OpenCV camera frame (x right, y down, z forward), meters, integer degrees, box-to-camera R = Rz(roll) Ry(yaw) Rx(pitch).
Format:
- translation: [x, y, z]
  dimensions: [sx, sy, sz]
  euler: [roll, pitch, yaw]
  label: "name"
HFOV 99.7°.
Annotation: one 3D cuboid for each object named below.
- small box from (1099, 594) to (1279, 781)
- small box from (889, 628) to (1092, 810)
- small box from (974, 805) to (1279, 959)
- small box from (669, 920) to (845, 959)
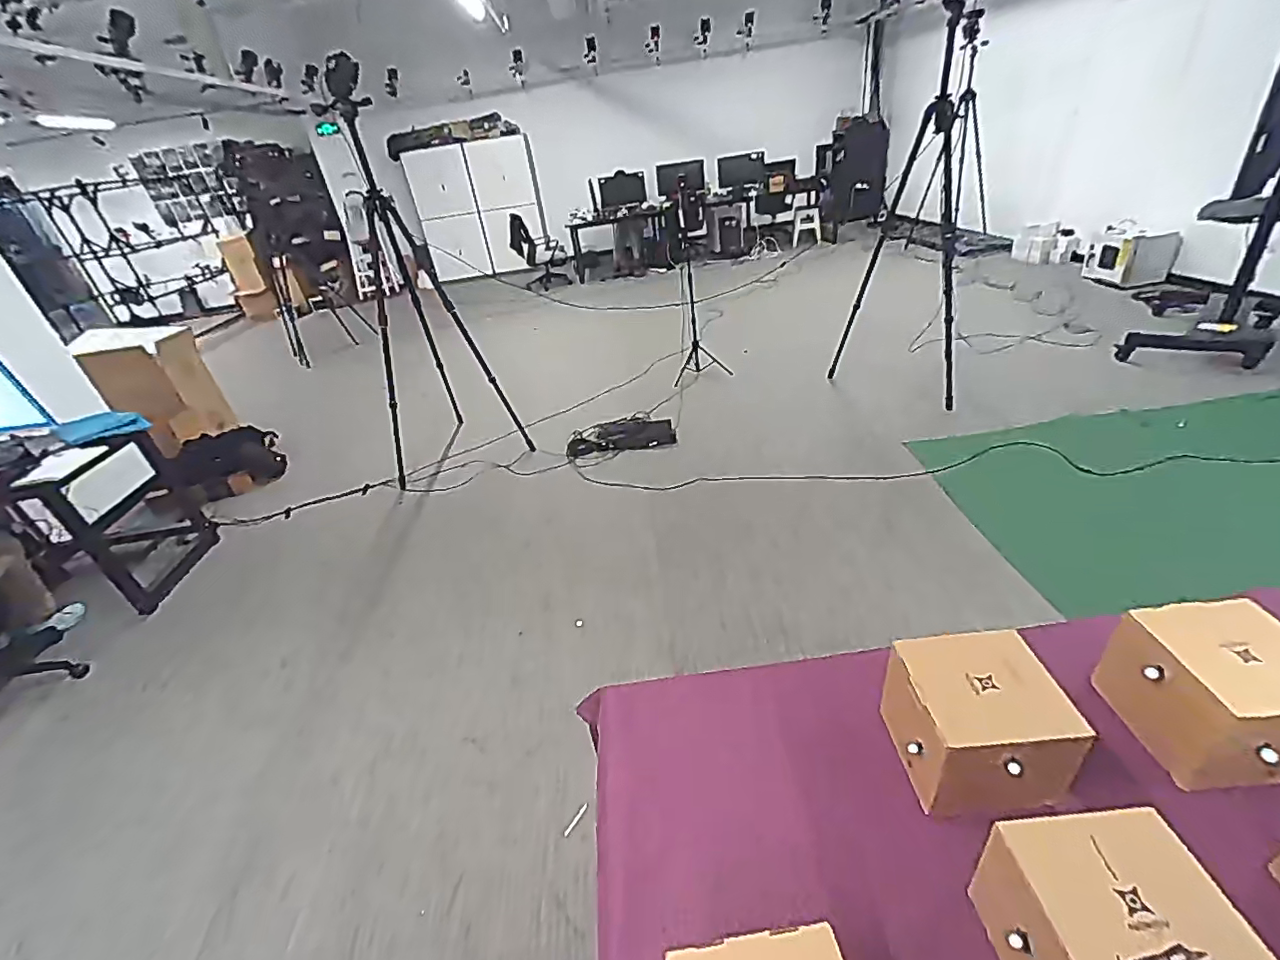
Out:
- translation: [0.785, 0.284, 0.734]
  dimensions: [0.168, 0.176, 0.179]
  euler: [-7, 31, 5]
  label: "small box"
- translation: [0.462, 0.332, 0.750]
  dimensions: [0.179, 0.176, 0.168]
  euler: [-7, 33, 4]
  label: "small box"
- translation: [0.469, 0.462, 0.537]
  dimensions: [0.168, 0.176, 0.179]
  euler: [-8, 31, 3]
  label: "small box"
- translation: [0.125, 0.551, 0.490]
  dimensions: [0.168, 0.176, 0.179]
  euler: [-10, 31, -1]
  label: "small box"
